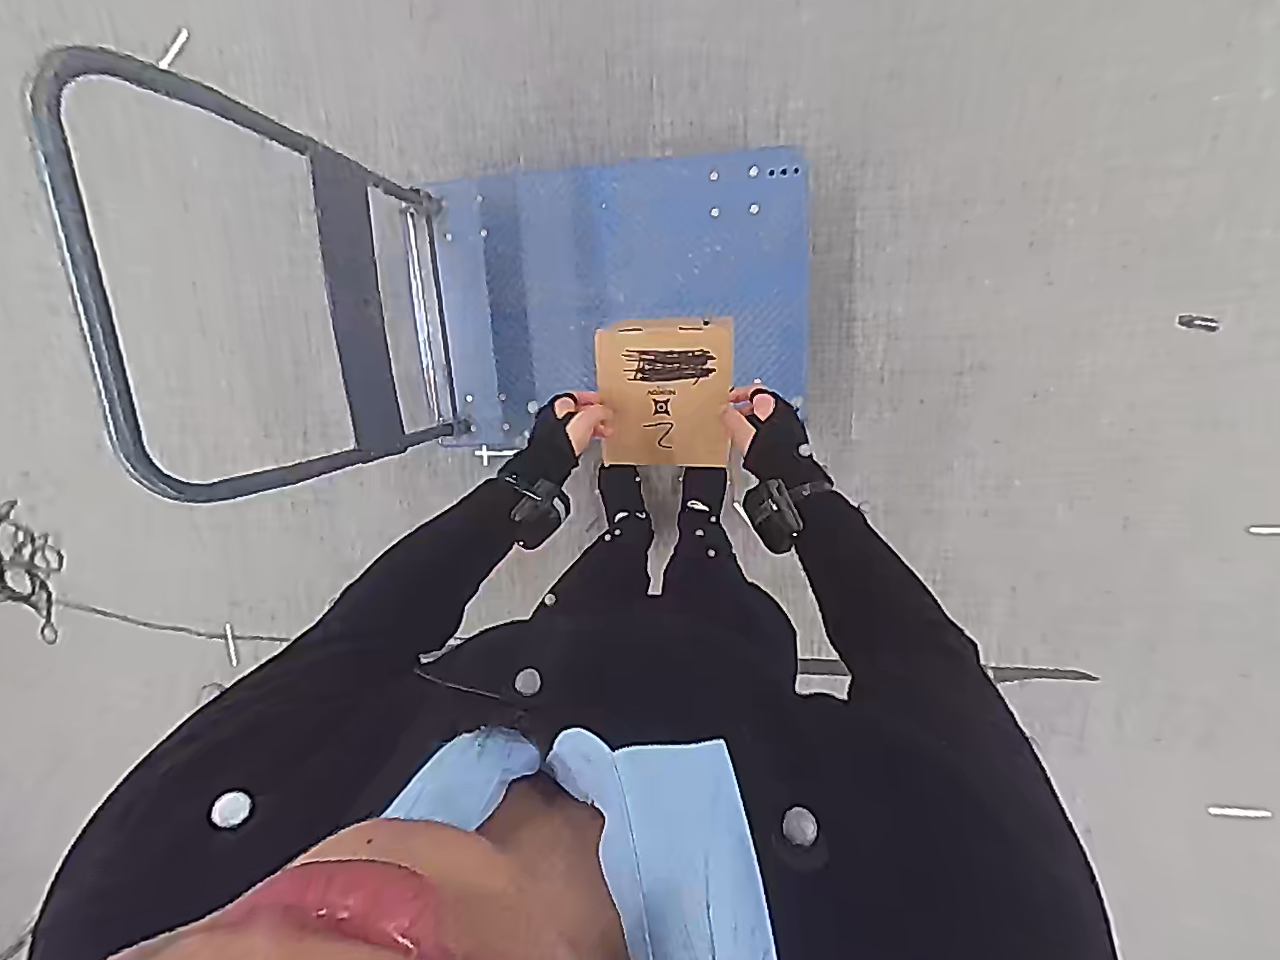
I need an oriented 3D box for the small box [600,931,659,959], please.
[{"bbox_3d":[-0.029,1.573,1.696,0.168,0.176,0.179,-12,100,7],"label":"small box"}]
